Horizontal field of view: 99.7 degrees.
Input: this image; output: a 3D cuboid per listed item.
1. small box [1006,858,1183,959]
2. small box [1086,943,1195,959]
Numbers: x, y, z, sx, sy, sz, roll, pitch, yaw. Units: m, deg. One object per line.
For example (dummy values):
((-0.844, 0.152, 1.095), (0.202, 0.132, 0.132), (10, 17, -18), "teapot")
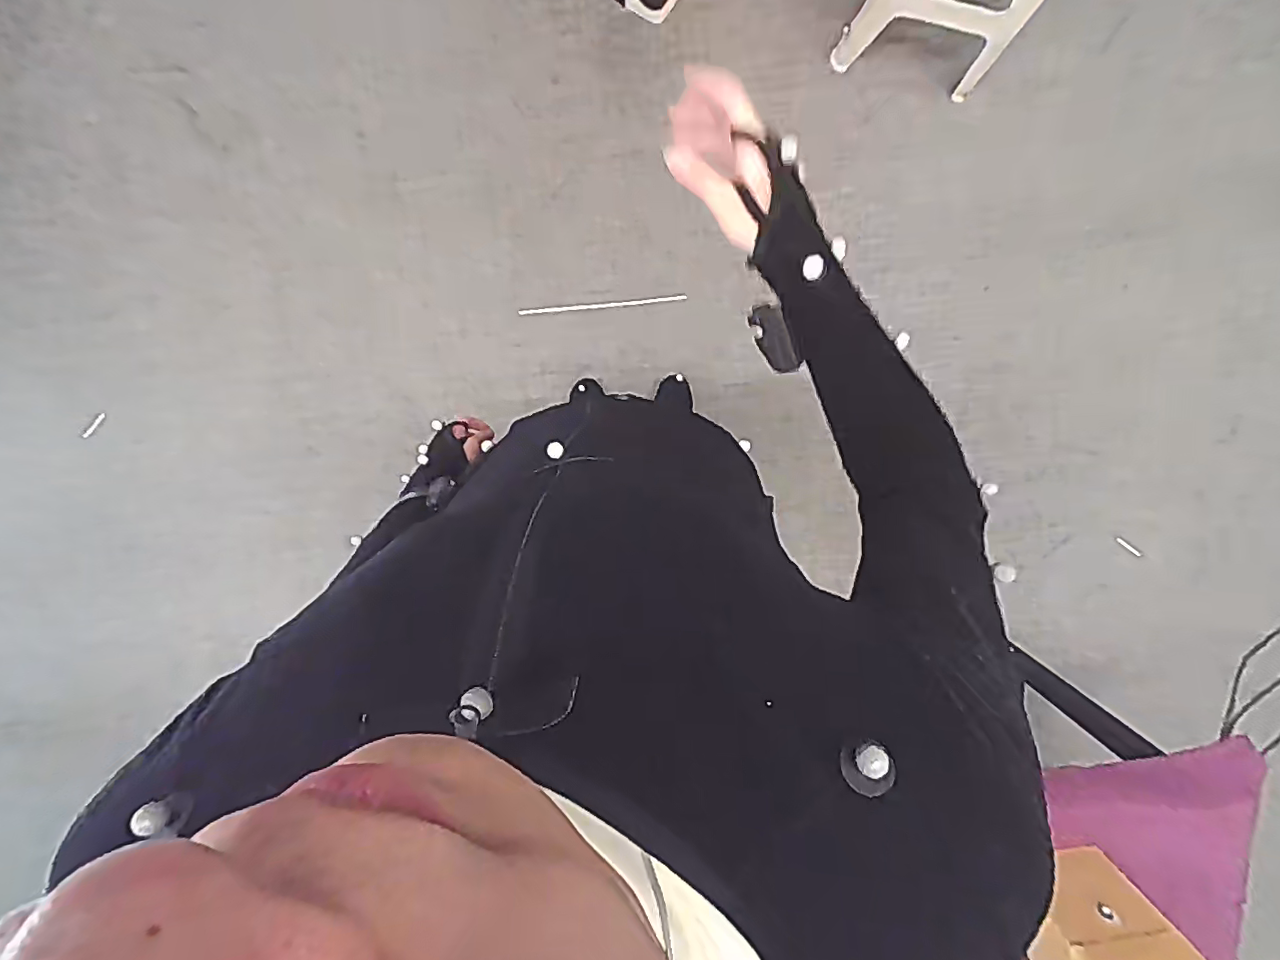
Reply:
((0.790, 0.808, 0.955), (0.179, 0.176, 0.168), (-9, 99, 2), "small box")
((0.785, 0.837, 0.796), (0.179, 0.176, 0.168), (-9, 99, 1), "small box")
